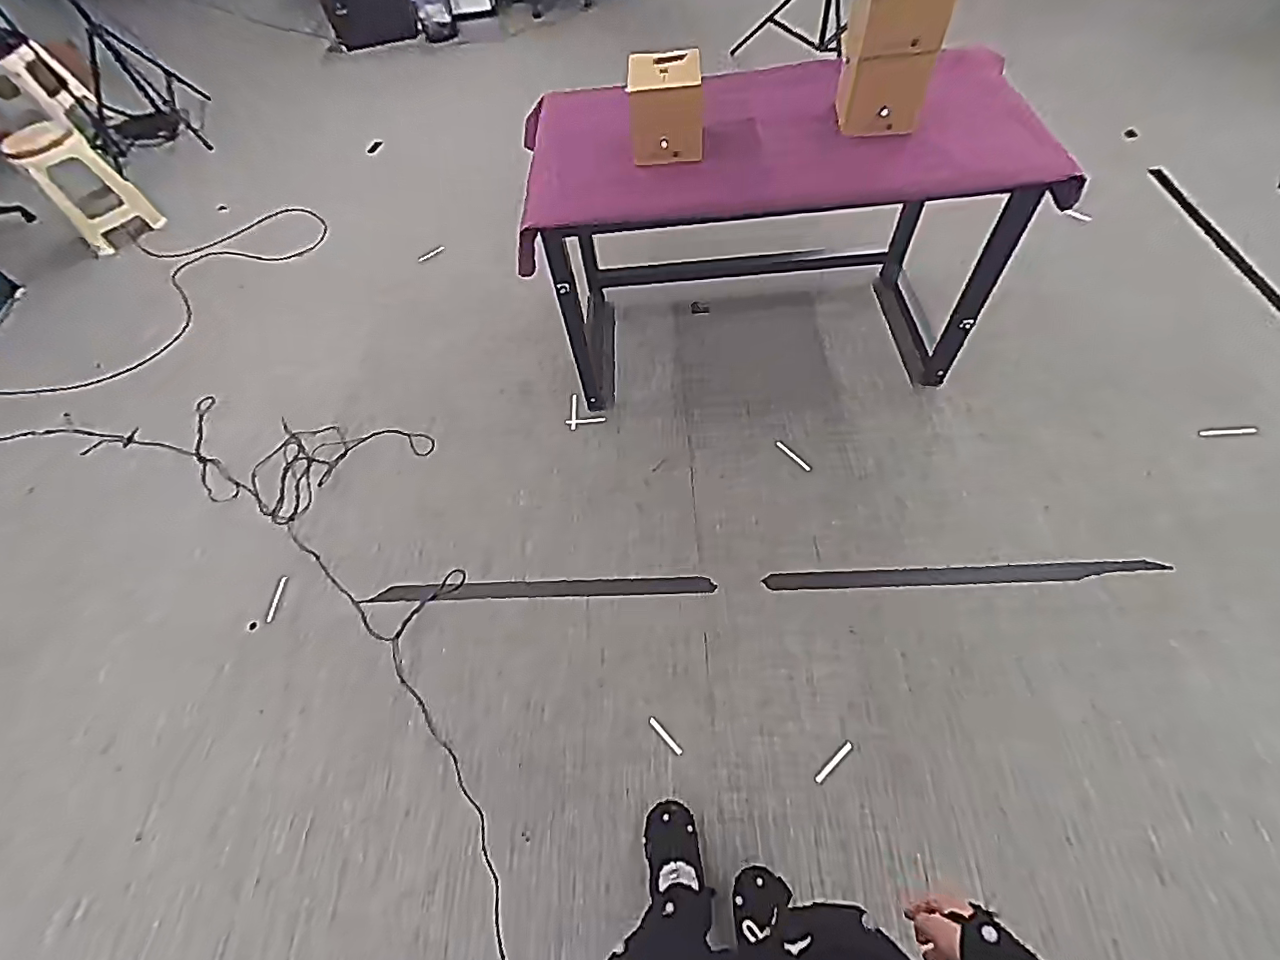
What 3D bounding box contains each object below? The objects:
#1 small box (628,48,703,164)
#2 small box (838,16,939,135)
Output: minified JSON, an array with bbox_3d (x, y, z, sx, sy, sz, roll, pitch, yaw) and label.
[{"bbox_3d":[0.063,-0.887,1.289,0.168,0.176,0.179,-2,59,5],"label":"small box"},{"bbox_3d":[0.567,-0.939,1.261,0.168,0.176,0.179,1,59,8],"label":"small box"}]
